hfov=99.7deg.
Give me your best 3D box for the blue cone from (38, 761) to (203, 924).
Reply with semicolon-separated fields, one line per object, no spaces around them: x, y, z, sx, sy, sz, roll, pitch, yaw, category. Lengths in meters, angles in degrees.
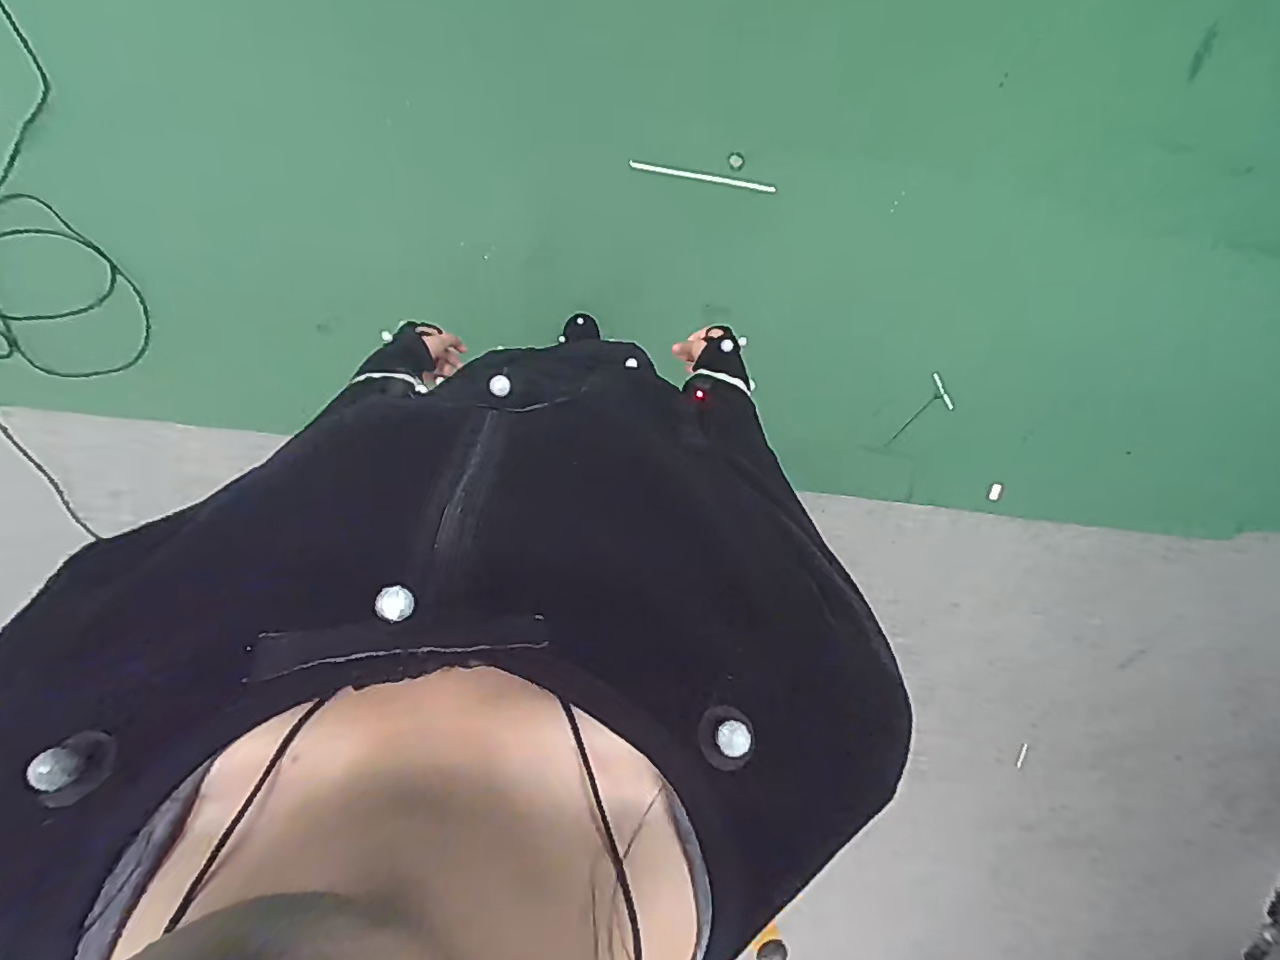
-1.405;0.982;1.447;0.193;0.380;0.192;-36;107;6;blue cone
